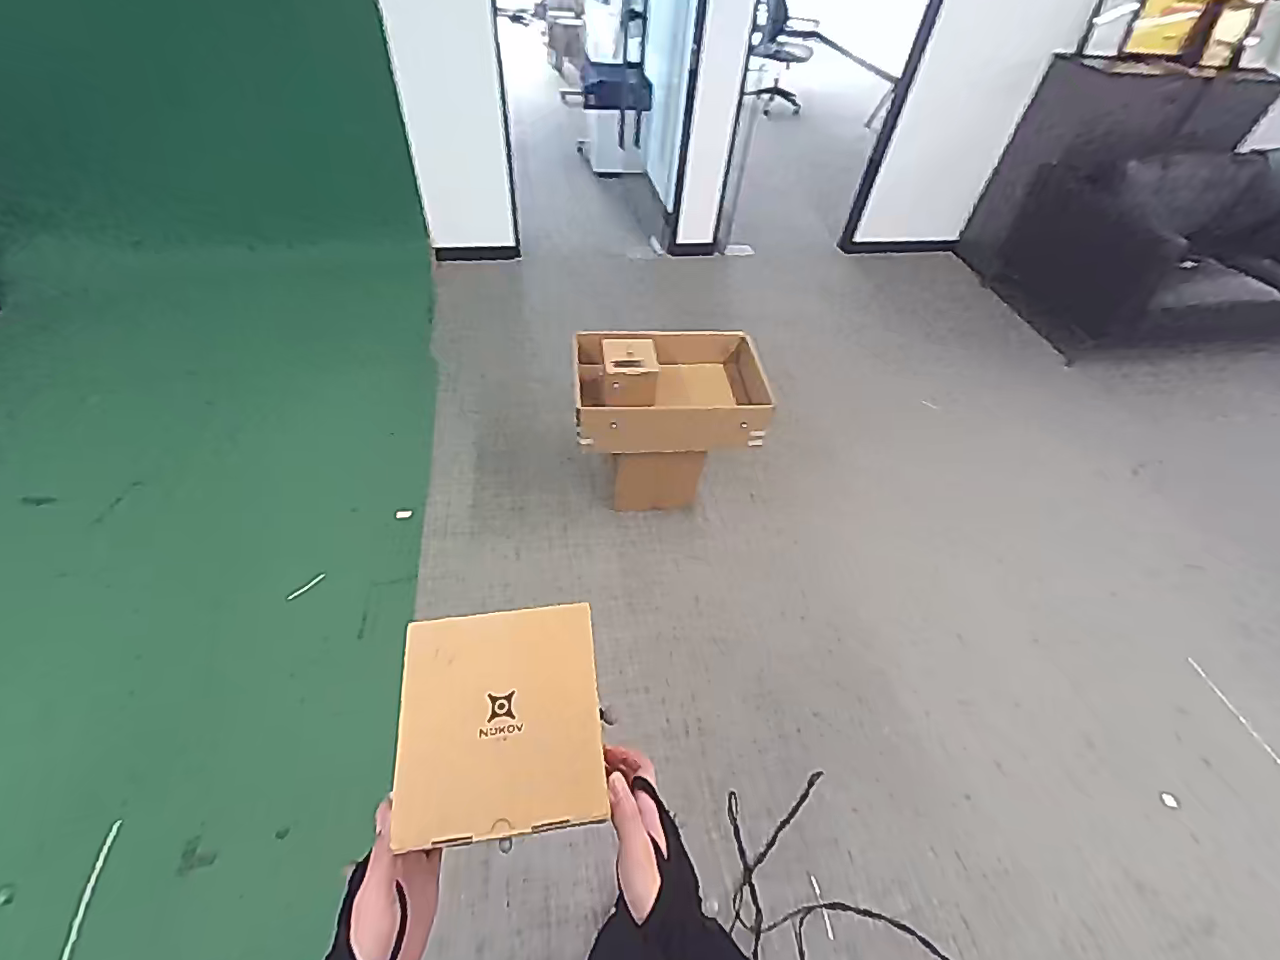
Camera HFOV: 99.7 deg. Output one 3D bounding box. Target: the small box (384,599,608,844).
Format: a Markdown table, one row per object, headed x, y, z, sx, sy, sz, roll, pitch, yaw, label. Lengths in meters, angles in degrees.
| x | y | z | sx | sy | sz | roll | pitch | yaw | label |
| --- | --- | --- | --- | --- | --- | --- | --- | --- | --- |
| -0.122 | 0.230 | 0.513 | 0.168 | 0.176 | 0.179 | -4 | 59 | -7 | small box |
